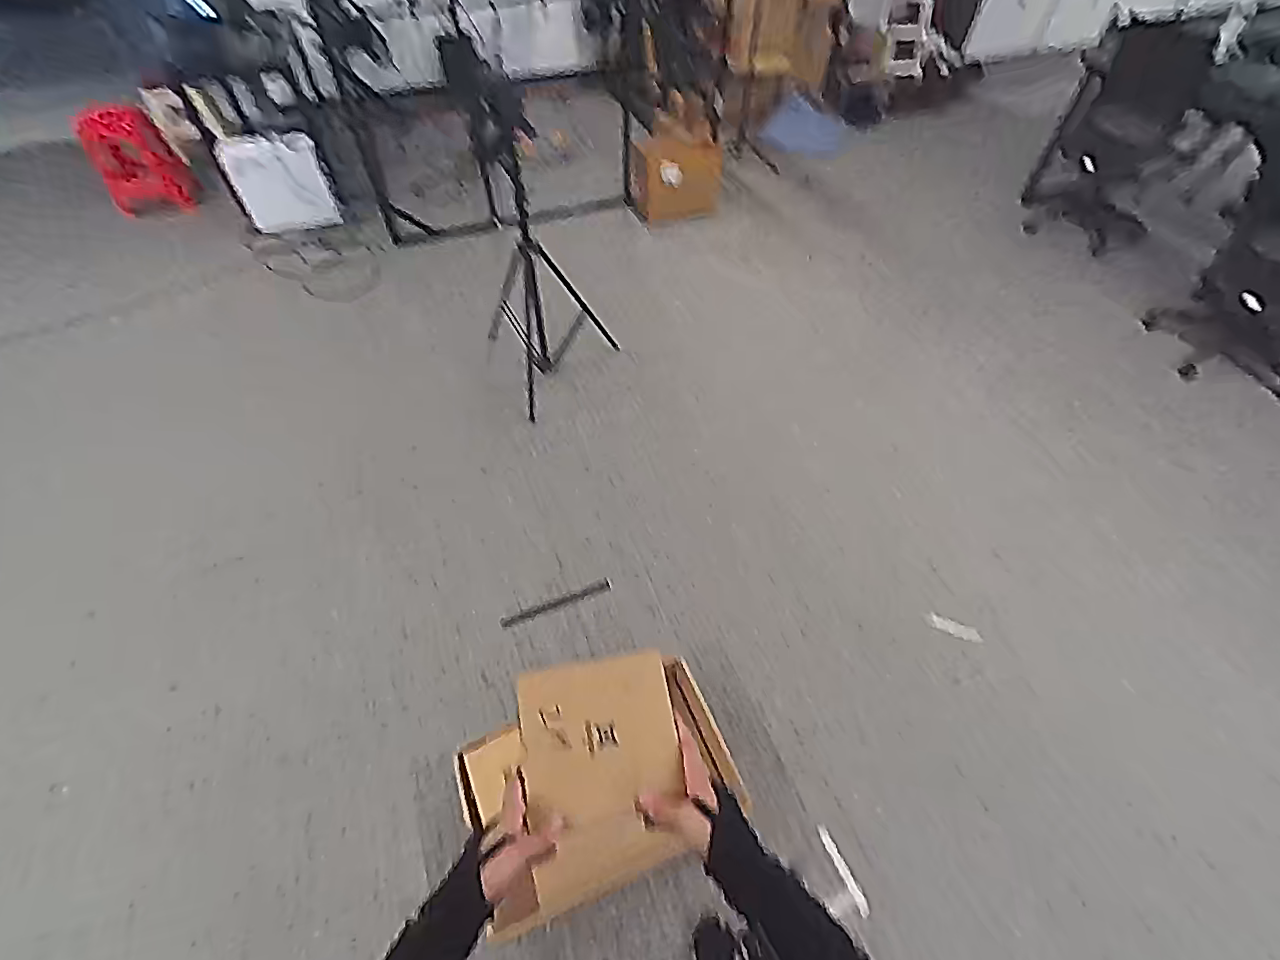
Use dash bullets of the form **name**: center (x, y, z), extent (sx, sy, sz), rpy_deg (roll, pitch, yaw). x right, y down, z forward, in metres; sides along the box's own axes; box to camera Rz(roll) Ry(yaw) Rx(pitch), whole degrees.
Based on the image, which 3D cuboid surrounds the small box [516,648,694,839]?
- **small box**: center (-0.046, 0.320, 0.661), extent (0.179, 0.176, 0.168), rpy_deg (-10, 60, -7)
